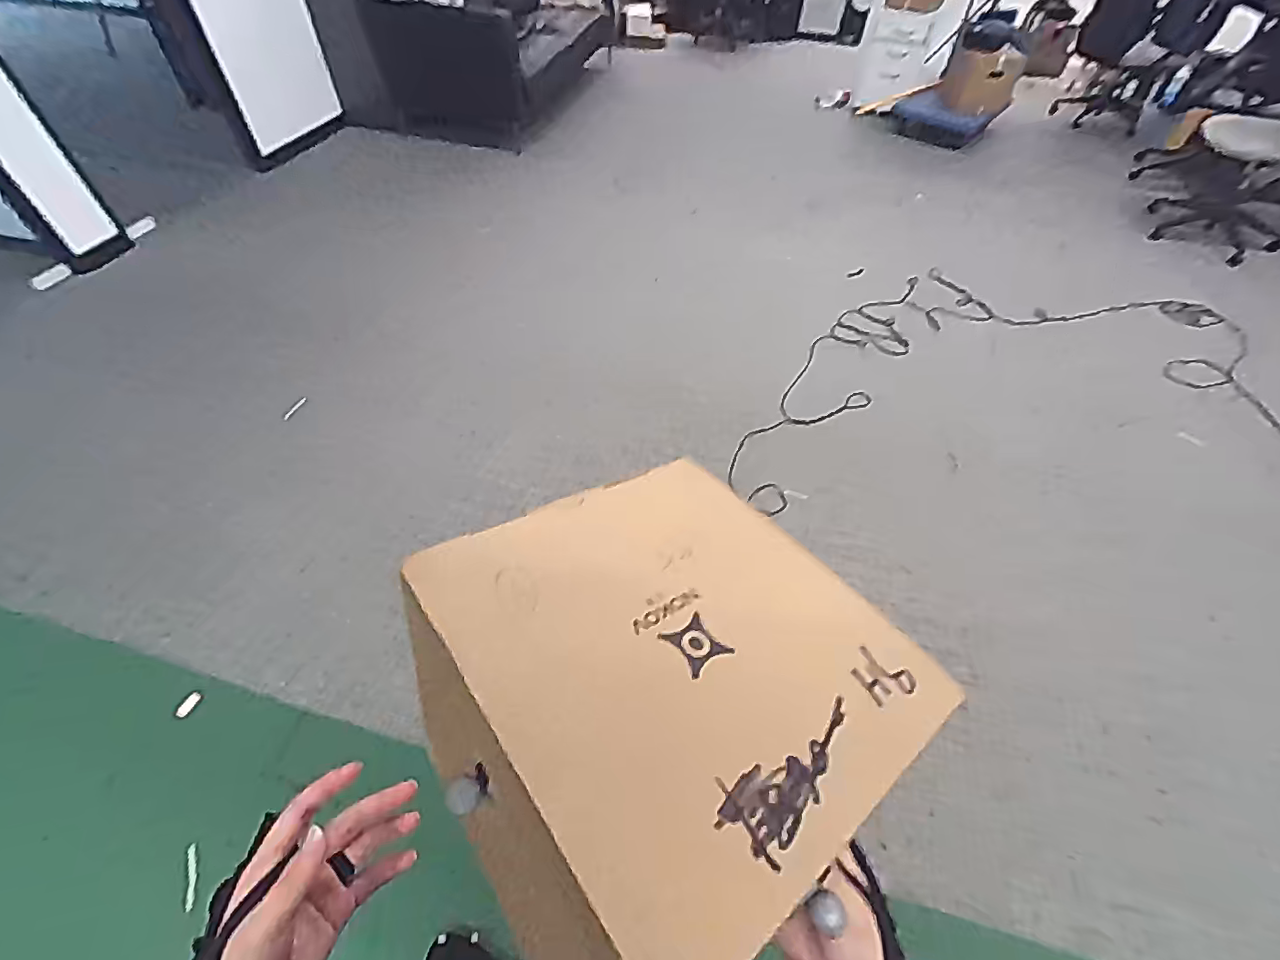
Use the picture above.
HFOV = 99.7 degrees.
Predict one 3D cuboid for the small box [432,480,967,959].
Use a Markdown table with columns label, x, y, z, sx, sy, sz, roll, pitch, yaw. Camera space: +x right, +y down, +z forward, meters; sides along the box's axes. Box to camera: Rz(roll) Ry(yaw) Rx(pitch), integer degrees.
| label | x | y | z | sx | sy | sz | roll | pitch | yaw |
| --- | --- | --- | --- | --- | --- | --- | --- | --- | --- |
| small box | 0.010 | 0.132 | 0.276 | 0.168 | 0.176 | 0.179 | -21 | 48 | -36 |
